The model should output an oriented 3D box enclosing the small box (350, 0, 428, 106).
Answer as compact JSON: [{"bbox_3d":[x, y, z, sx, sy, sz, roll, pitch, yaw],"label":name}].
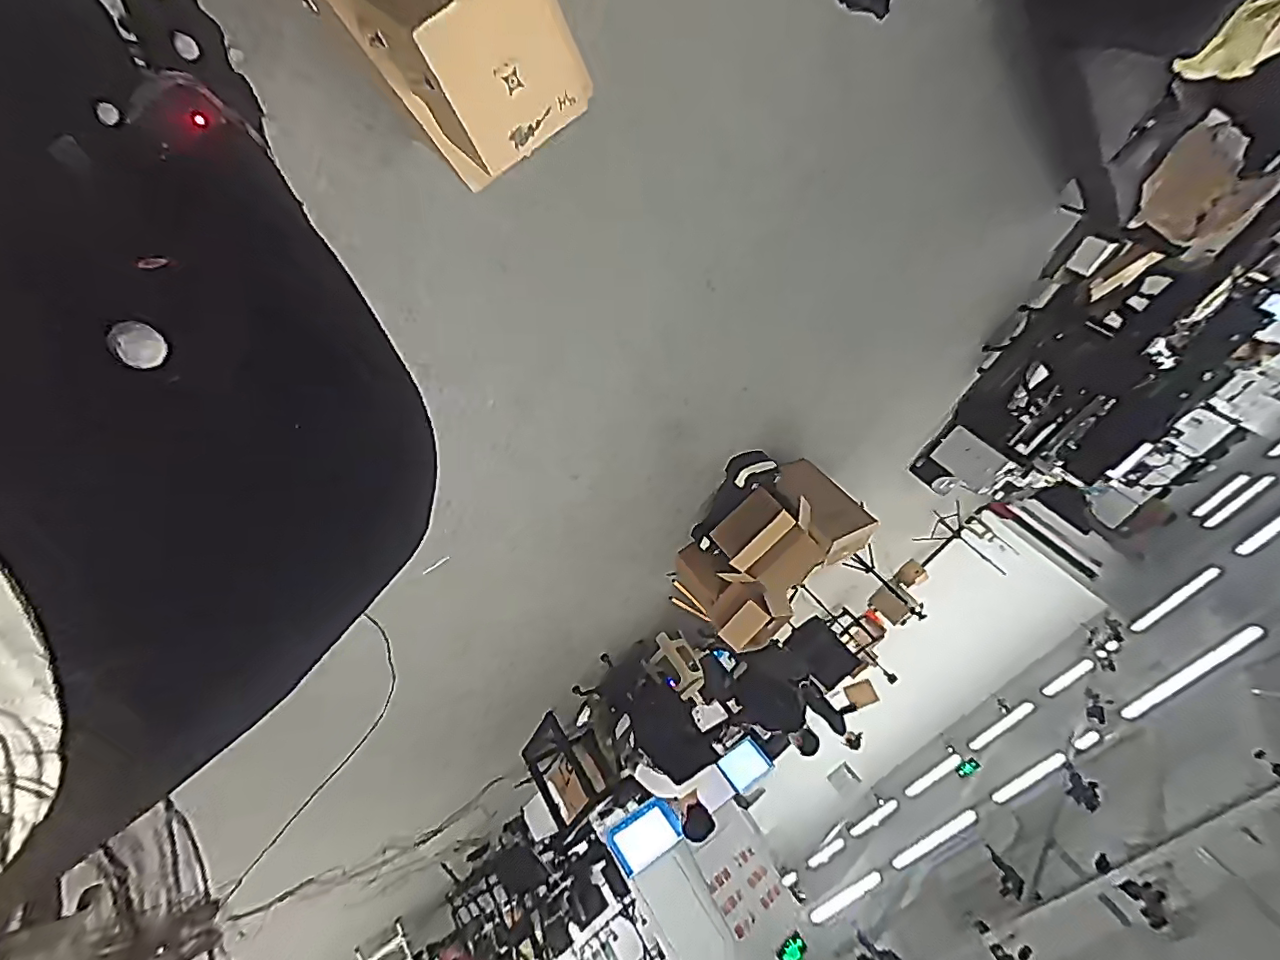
[{"bbox_3d":[-0.280,-0.655,0.766,0.179,0.176,0.168,-39,148,1],"label":"small box"}]

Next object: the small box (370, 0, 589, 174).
[{"bbox_3d":[-0.201,-0.539,0.684,0.168,0.176,0.179,-42,149,-1],"label":"small box"}]
